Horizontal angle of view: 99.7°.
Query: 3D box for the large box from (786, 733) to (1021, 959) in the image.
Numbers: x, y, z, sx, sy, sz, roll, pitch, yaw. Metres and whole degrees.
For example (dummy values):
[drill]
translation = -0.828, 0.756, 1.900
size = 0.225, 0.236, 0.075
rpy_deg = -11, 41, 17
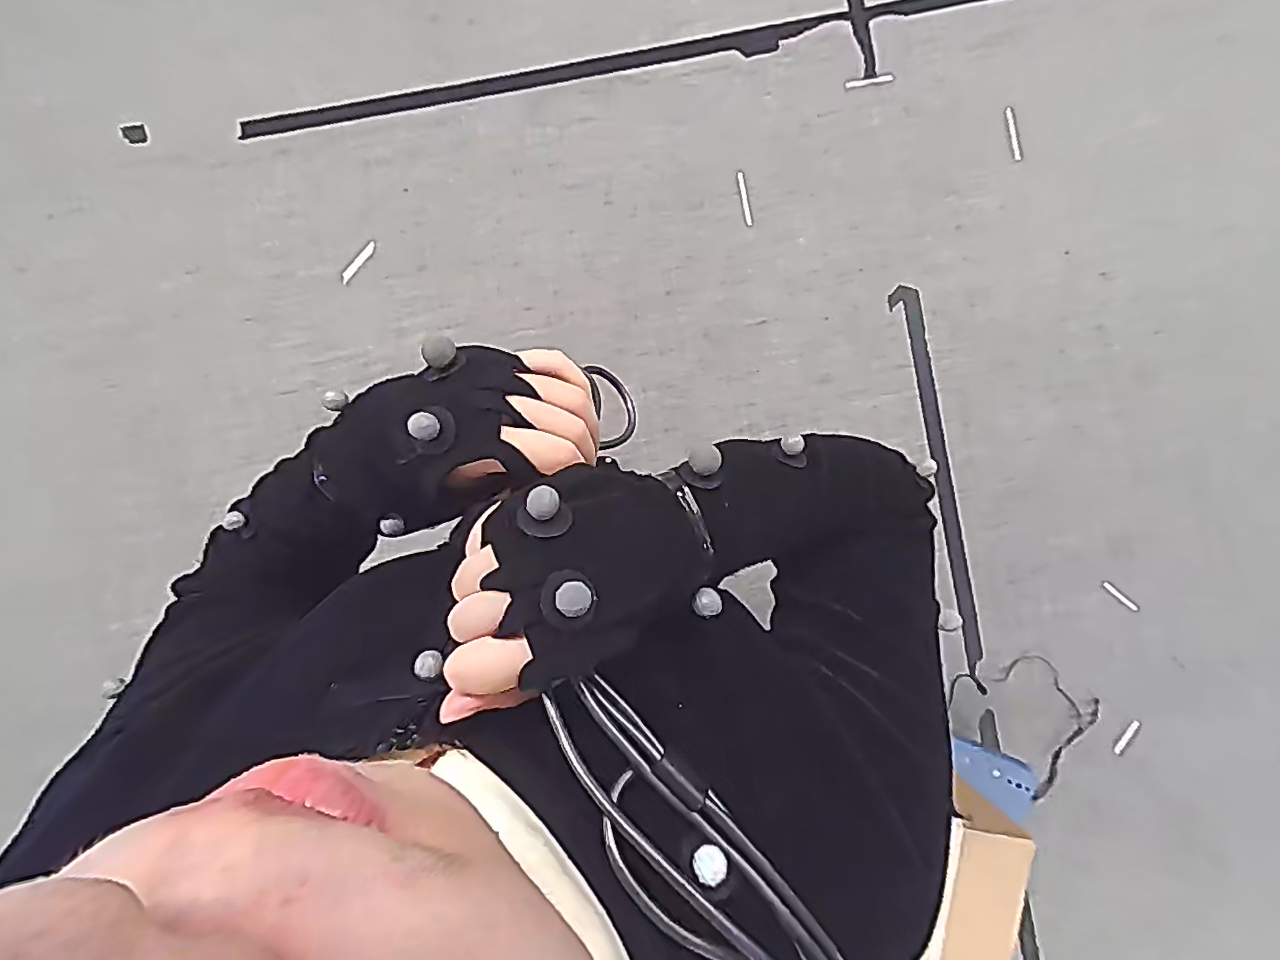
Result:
[large box]
translation = 0.545, 0.837, 1.182
size = 0.320, 0.320, 0.408
rpy_deg = 12, 90, -1
